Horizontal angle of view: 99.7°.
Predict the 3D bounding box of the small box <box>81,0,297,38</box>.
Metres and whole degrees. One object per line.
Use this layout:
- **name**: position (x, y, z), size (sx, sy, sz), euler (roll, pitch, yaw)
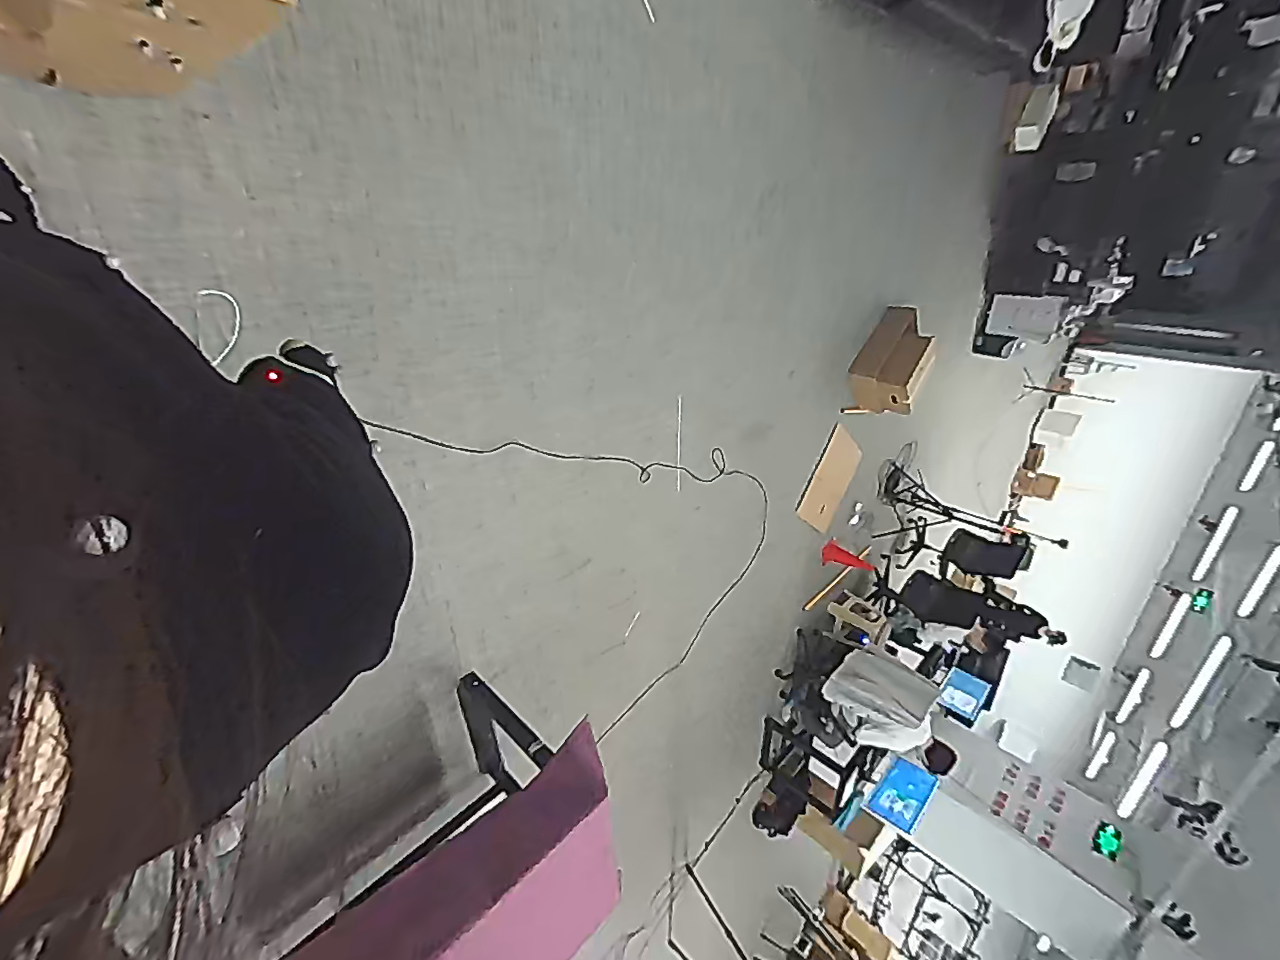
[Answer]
- **small box**: position (-0.448, -0.548, 0.494), size (0.168, 0.176, 0.179), euler (-22, 123, -41)
